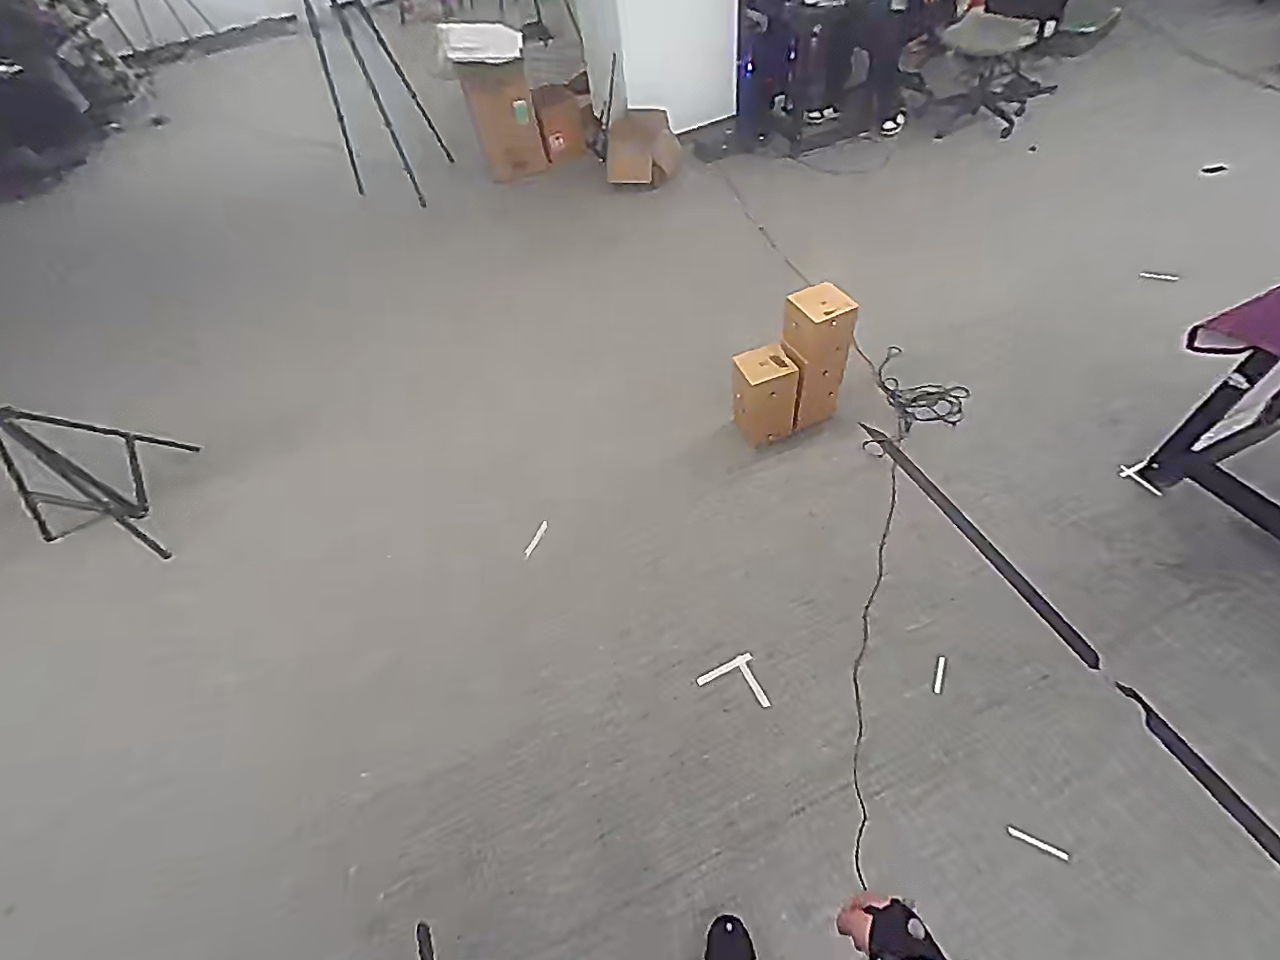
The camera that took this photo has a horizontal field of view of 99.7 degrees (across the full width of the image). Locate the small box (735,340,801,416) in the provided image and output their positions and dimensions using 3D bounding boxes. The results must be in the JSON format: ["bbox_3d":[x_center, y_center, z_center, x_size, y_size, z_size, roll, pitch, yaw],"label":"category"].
[{"bbox_3d":[0.445,-0.357,1.904,0.179,0.176,0.168,-20,51,-3],"label":"small box"}]

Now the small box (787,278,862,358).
[{"bbox_3d":[0.606,-0.538,1.805,0.168,0.176,0.179,-24,51,-7],"label":"small box"}]
